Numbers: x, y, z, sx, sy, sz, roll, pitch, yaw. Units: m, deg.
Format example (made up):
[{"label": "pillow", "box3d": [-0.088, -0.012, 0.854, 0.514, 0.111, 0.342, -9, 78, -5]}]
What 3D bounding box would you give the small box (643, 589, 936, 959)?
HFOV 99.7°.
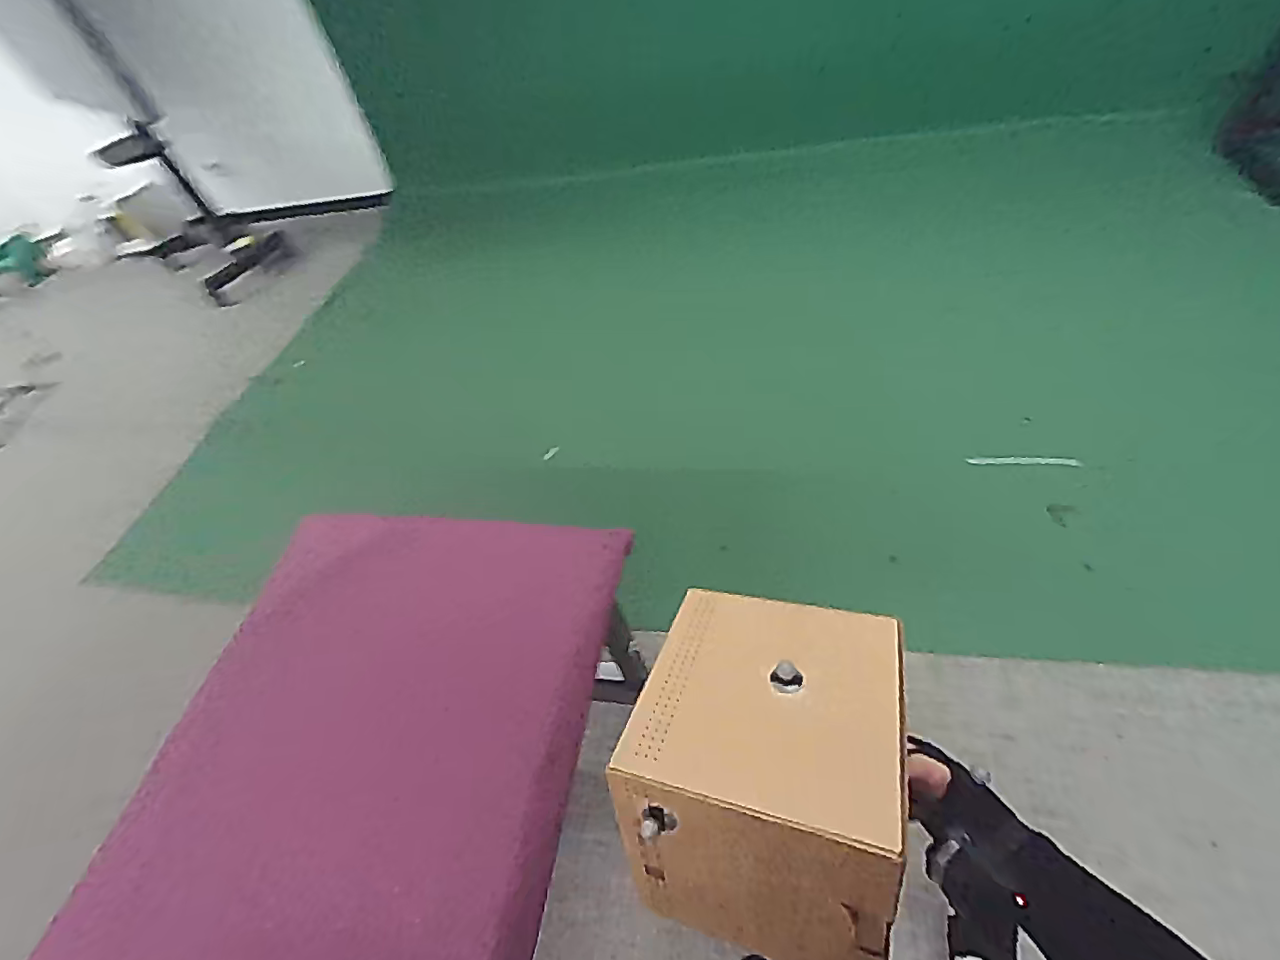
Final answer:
[{"label": "small box", "box3d": [0.105, 0.203, 0.391, 0.176, 0.168, 0.179, 5, 31, 21]}]
